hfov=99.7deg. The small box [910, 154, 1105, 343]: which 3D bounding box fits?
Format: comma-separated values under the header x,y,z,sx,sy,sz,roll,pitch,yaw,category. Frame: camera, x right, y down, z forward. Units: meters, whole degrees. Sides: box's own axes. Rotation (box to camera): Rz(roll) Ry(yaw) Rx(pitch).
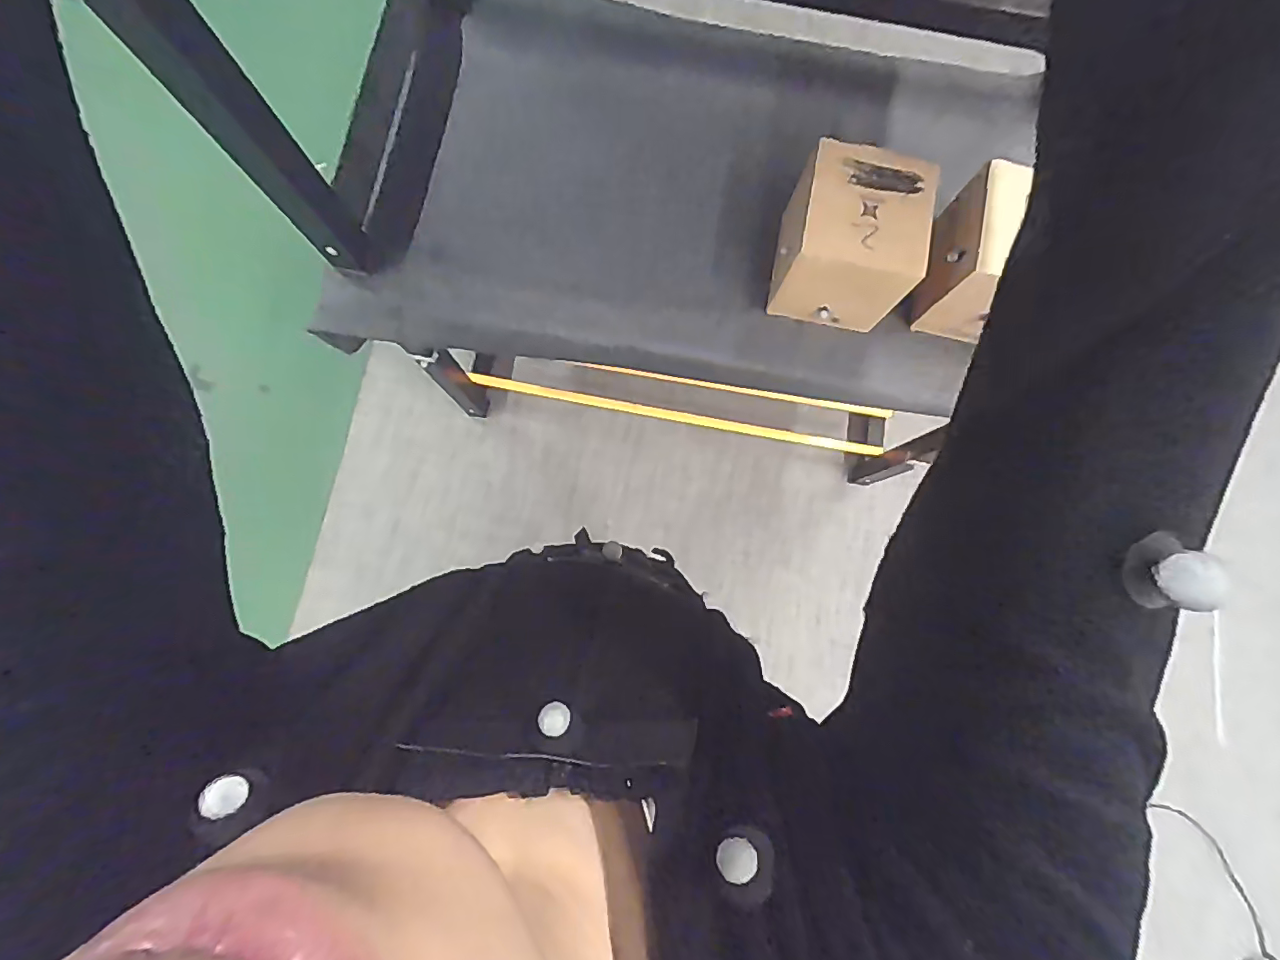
x,y,z,sx,sy,sz,roll,pitch,yaw,category
0.521,-0.323,0.789,0.168,0.176,0.179,14,79,0,small box
